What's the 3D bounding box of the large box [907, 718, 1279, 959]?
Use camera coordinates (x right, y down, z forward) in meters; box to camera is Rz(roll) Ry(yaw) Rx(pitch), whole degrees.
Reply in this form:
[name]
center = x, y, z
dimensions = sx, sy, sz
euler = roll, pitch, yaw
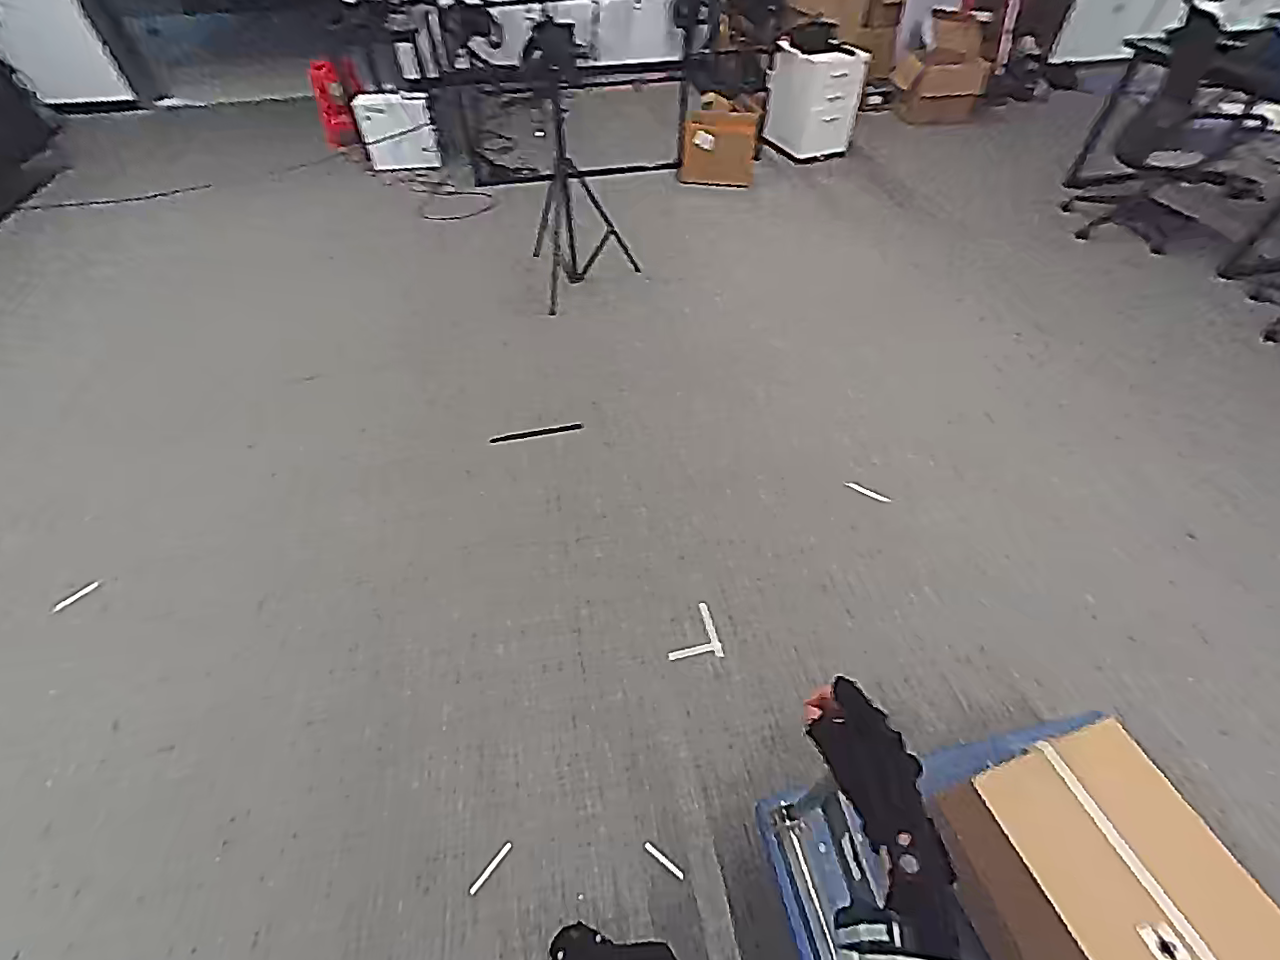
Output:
[large box]
center = 0.766, 0.705, 0.943
dimensions = 0.320, 0.320, 0.408
euler = -16, 52, -11
